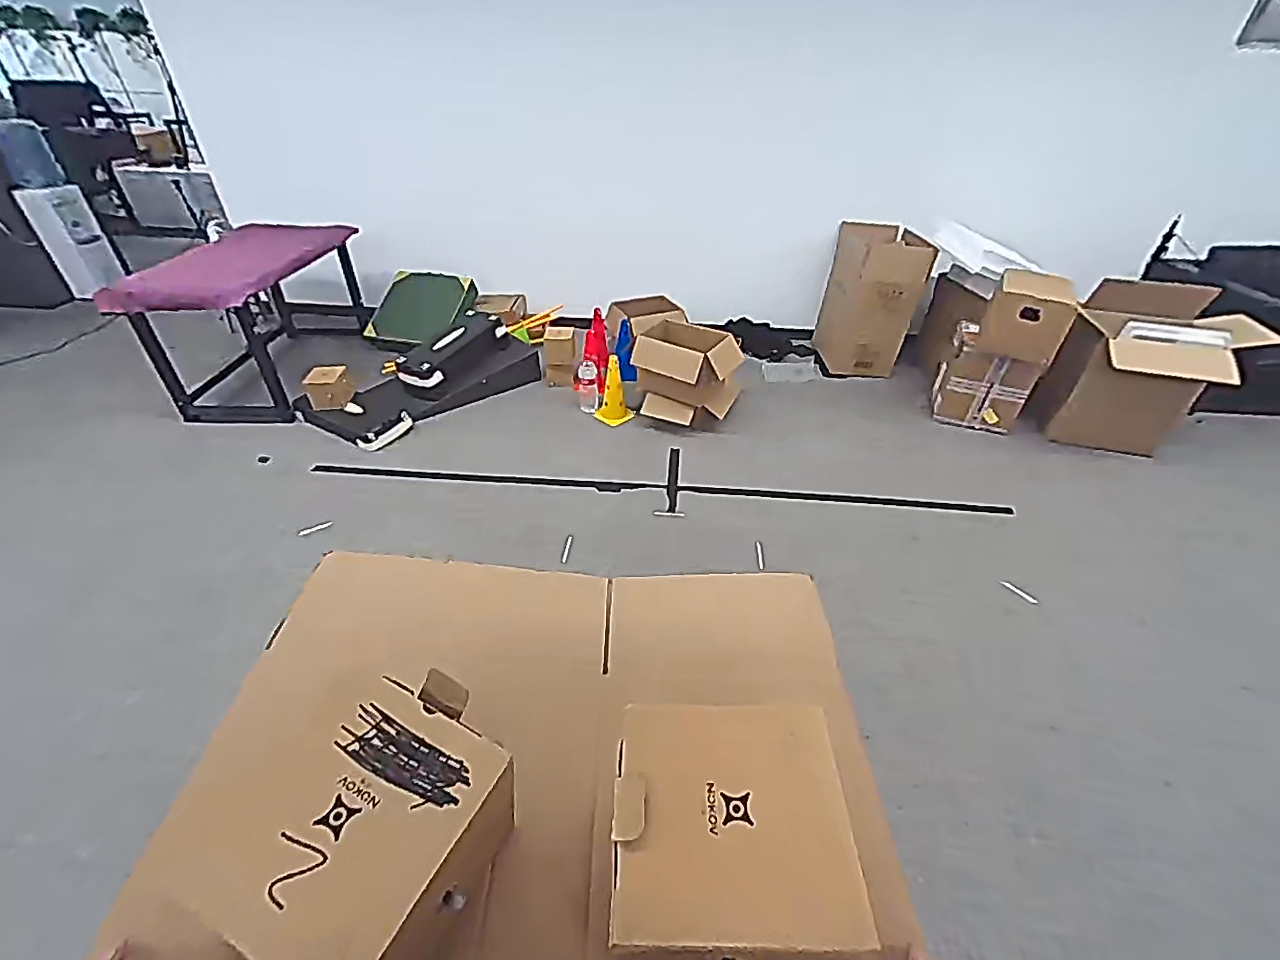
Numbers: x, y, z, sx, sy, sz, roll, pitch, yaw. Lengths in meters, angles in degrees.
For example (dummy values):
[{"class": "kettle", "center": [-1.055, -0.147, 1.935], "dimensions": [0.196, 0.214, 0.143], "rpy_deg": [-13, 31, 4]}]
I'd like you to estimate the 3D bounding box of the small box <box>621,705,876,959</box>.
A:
[{"class": "small box", "center": [0.079, 0.318, 0.477], "dimensions": [0.179, 0.176, 0.168], "rpy_deg": [-2, 40, 3]}]
